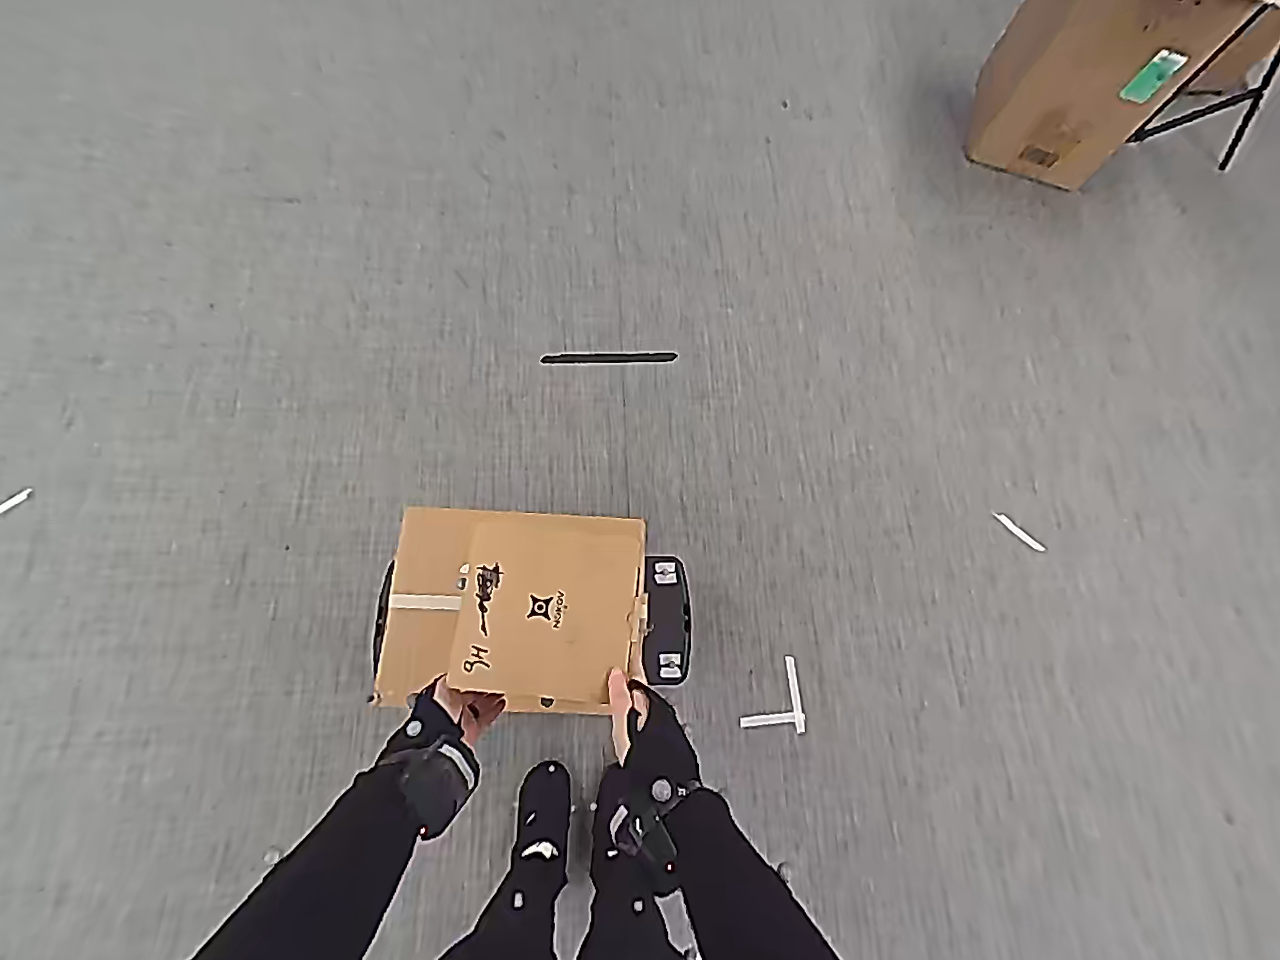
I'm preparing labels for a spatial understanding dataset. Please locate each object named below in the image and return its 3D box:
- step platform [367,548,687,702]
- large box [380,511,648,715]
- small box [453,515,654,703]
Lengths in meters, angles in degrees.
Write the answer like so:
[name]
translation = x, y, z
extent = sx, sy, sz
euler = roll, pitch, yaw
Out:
[step platform]
translation = -0.235, 0.327, 1.223
extent = 0.684, 0.204, 0.286
euler = 5, 71, -1
[large box]
translation = -0.193, 0.249, 1.000
extent = 0.408, 0.320, 0.320
euler = 3, 70, -2
[small box]
translation = -0.086, 0.148, 0.608
extent = 0.179, 0.176, 0.168
euler = 7, 71, -2
